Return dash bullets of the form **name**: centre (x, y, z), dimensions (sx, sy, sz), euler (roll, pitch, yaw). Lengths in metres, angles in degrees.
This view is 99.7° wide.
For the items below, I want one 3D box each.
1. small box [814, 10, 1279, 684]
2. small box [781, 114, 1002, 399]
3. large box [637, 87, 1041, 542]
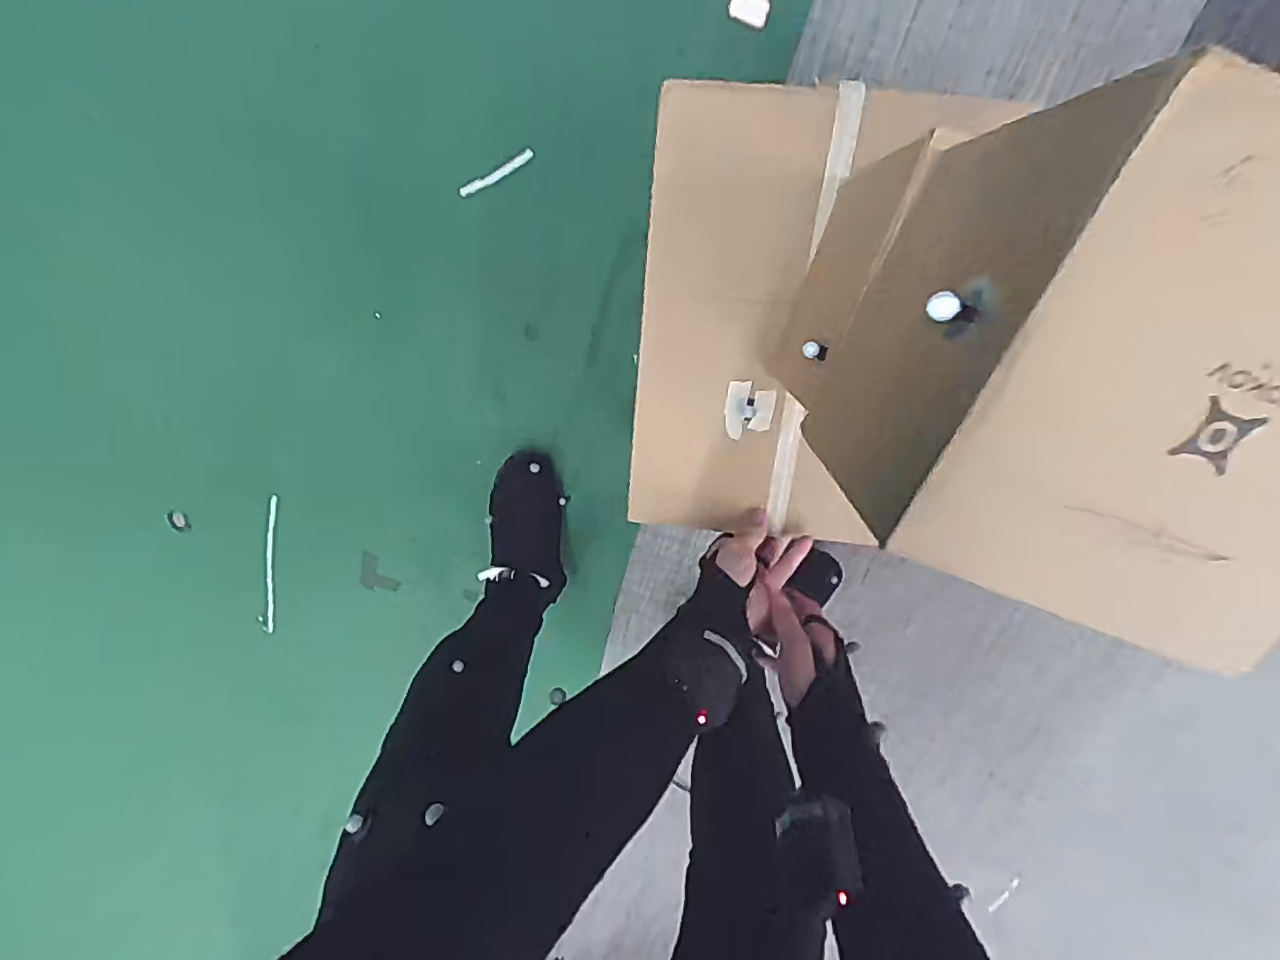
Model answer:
- **small box**: centre (0.202, -0.050, 0.251), dimensions (0.168, 0.176, 0.179), euler (20, 112, -4)
- **small box**: centre (0.217, -0.126, 0.395), dimensions (0.168, 0.176, 0.179), euler (15, 112, -3)
- **large box**: centre (0.169, -0.183, 0.639), dimensions (0.320, 0.320, 0.408), euler (5, 112, 4)
